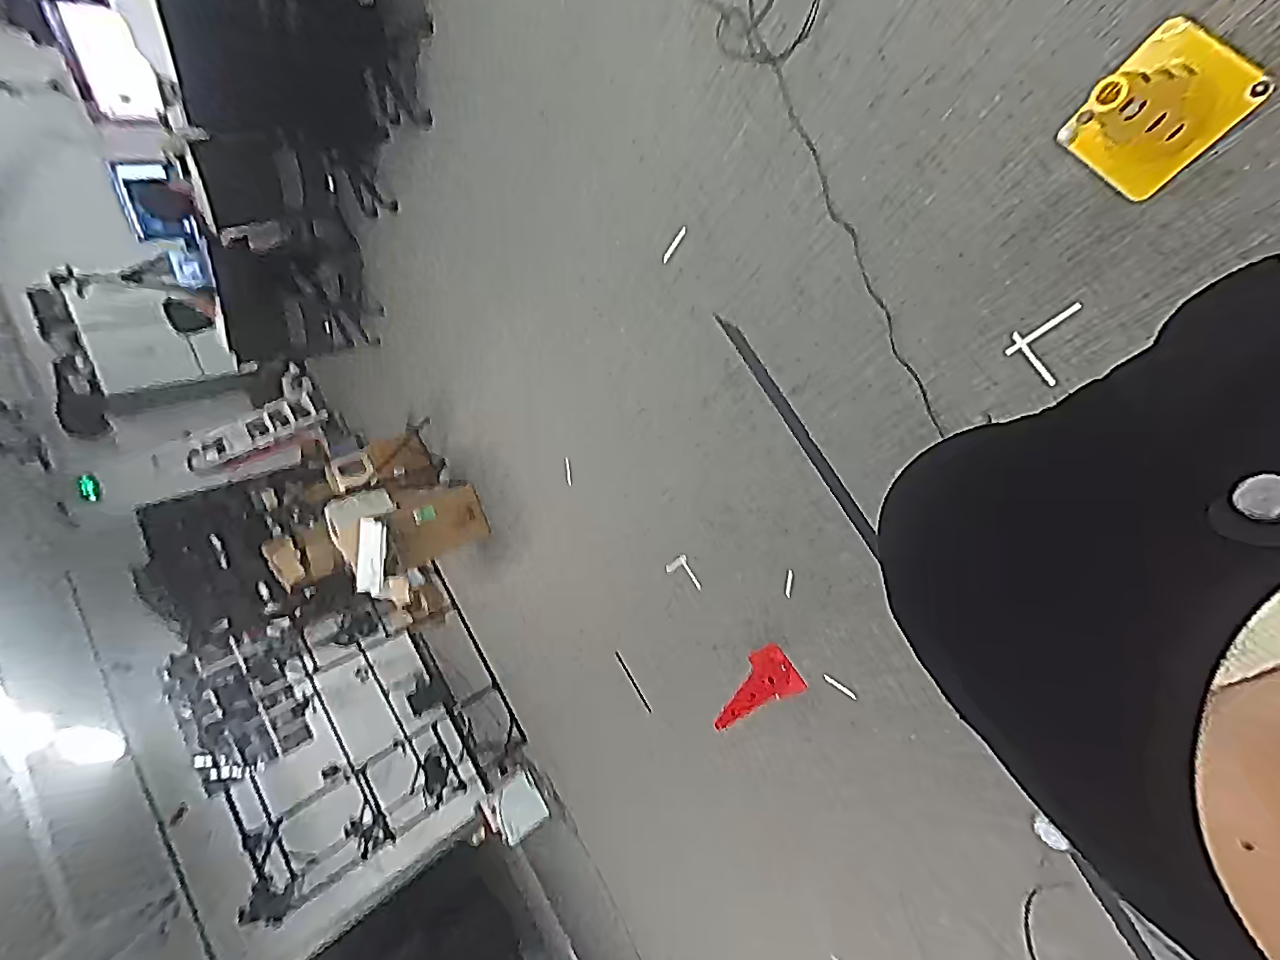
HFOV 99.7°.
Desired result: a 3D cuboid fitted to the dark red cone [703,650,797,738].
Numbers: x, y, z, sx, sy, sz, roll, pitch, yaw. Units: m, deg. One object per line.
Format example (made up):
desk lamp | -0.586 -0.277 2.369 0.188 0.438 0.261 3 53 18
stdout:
dark red cone | 0.373 0.810 1.970 0.202 0.394 0.201 54 141 16
